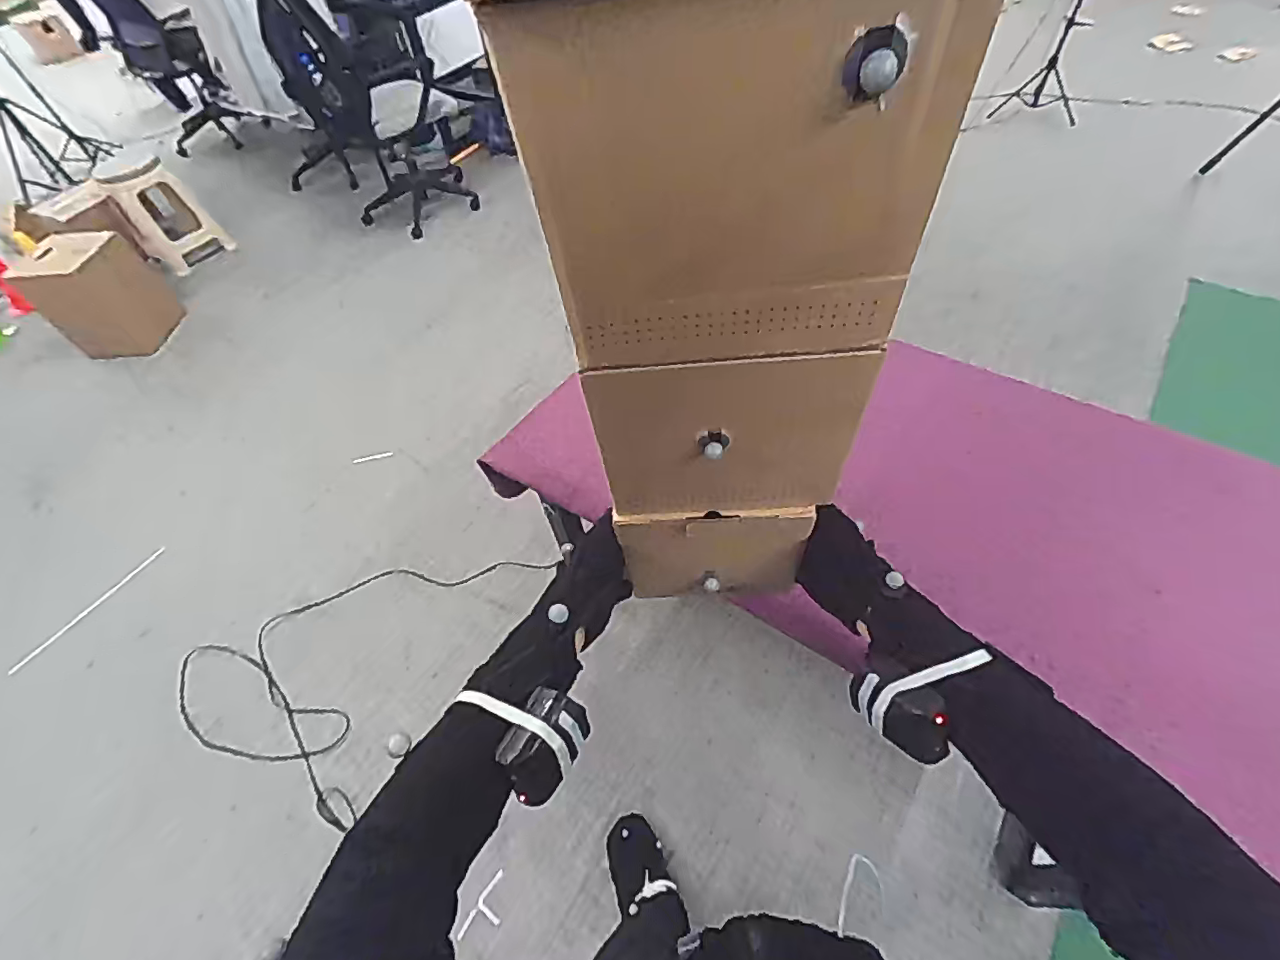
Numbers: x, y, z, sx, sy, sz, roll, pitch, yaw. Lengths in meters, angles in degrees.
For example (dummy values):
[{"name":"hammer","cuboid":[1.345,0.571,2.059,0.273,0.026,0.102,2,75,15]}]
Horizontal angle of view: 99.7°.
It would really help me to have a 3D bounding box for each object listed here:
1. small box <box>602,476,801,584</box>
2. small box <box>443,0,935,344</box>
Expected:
[{"name":"small box","cuboid":[0.059,-0.007,0.552,0.168,0.176,0.179,-3,57,6]},{"name":"small box","cuboid":[0.027,-0.188,0.282,0.179,0.176,0.168,-3,56,5]}]
